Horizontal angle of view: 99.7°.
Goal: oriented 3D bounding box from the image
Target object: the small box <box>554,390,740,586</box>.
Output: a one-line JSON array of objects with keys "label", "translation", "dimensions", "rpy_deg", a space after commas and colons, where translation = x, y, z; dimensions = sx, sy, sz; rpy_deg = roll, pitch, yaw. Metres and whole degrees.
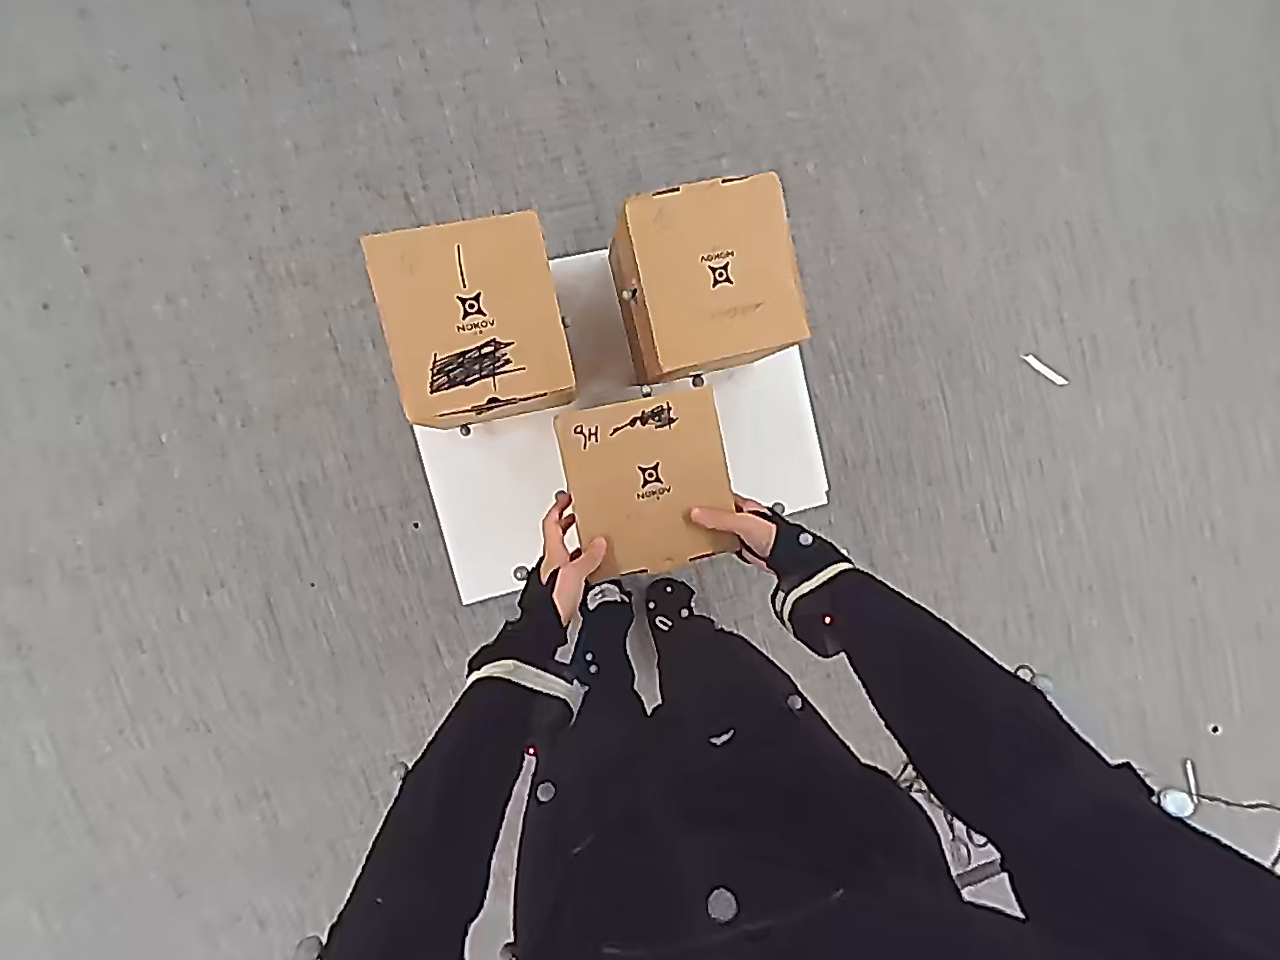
[{"label": "small box", "translation": [-0.001, 0.003, 0.626], "dimensions": [0.168, 0.176, 0.179], "rpy_deg": [-12, 94, -8]}]

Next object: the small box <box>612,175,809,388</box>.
[{"label": "small box", "translation": [0.069, -0.215, 0.629], "dimensions": [0.168, 0.176, 0.179], "rpy_deg": [-15, 97, -7]}]

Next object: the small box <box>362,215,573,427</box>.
[{"label": "small box", "translation": [-0.171, -0.157, 0.591], "dimensions": [0.168, 0.176, 0.179], "rpy_deg": [-13, 94, -9]}]
